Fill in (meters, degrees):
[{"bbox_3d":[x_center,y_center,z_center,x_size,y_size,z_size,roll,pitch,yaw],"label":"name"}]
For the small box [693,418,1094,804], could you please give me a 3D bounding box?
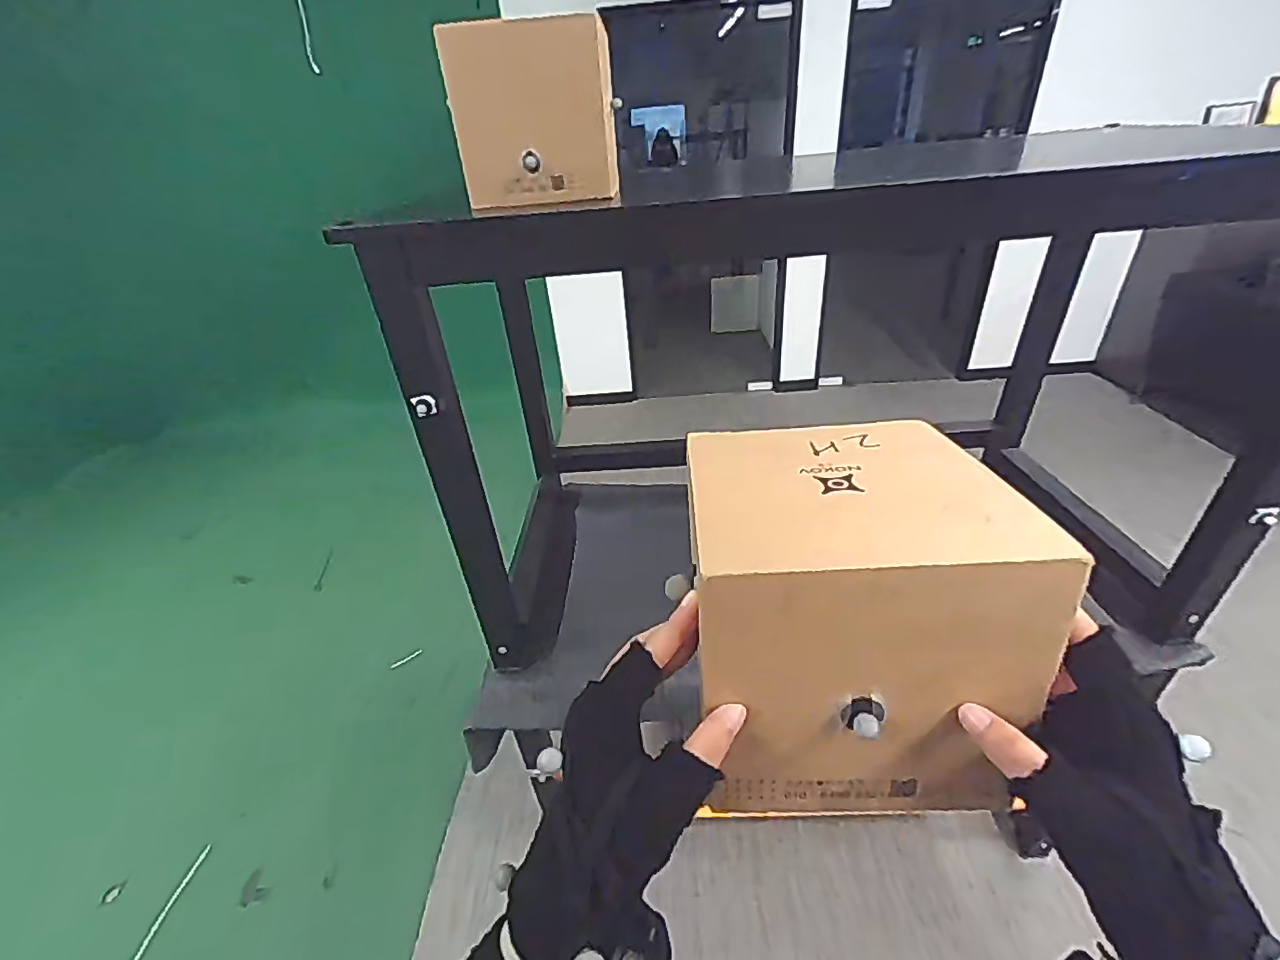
[{"bbox_3d":[0.121,0.073,0.340,0.168,0.176,0.179,-2,26,4],"label":"small box"}]
